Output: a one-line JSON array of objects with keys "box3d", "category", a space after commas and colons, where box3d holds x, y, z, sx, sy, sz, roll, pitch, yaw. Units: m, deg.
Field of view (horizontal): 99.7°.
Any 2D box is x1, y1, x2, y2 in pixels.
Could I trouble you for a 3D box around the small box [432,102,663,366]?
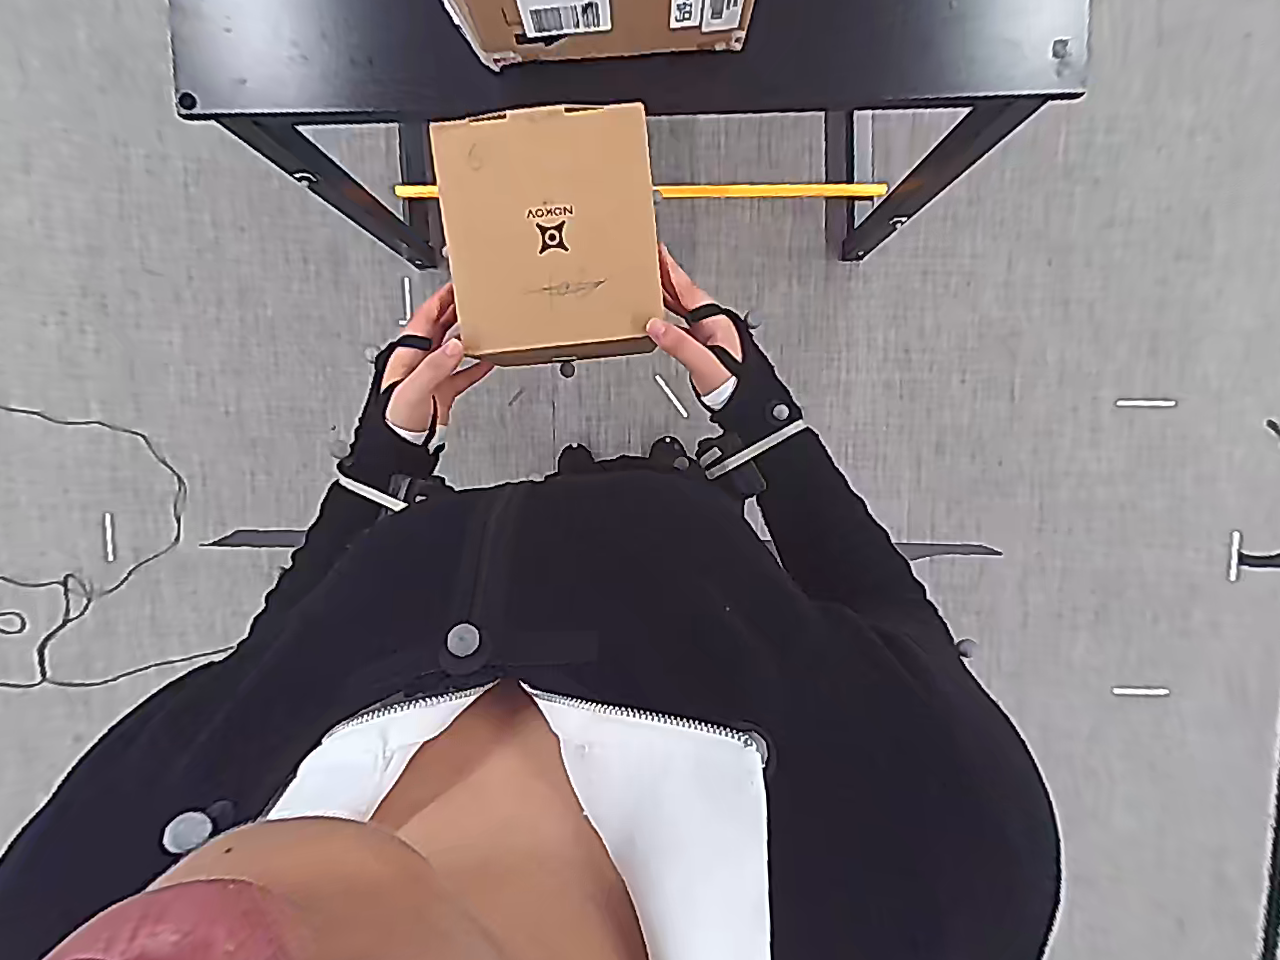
[{"box3d": [-0.073, -0.206, 0.500, 0.168, 0.176, 0.179, -6, 99, -1], "category": "small box"}]
